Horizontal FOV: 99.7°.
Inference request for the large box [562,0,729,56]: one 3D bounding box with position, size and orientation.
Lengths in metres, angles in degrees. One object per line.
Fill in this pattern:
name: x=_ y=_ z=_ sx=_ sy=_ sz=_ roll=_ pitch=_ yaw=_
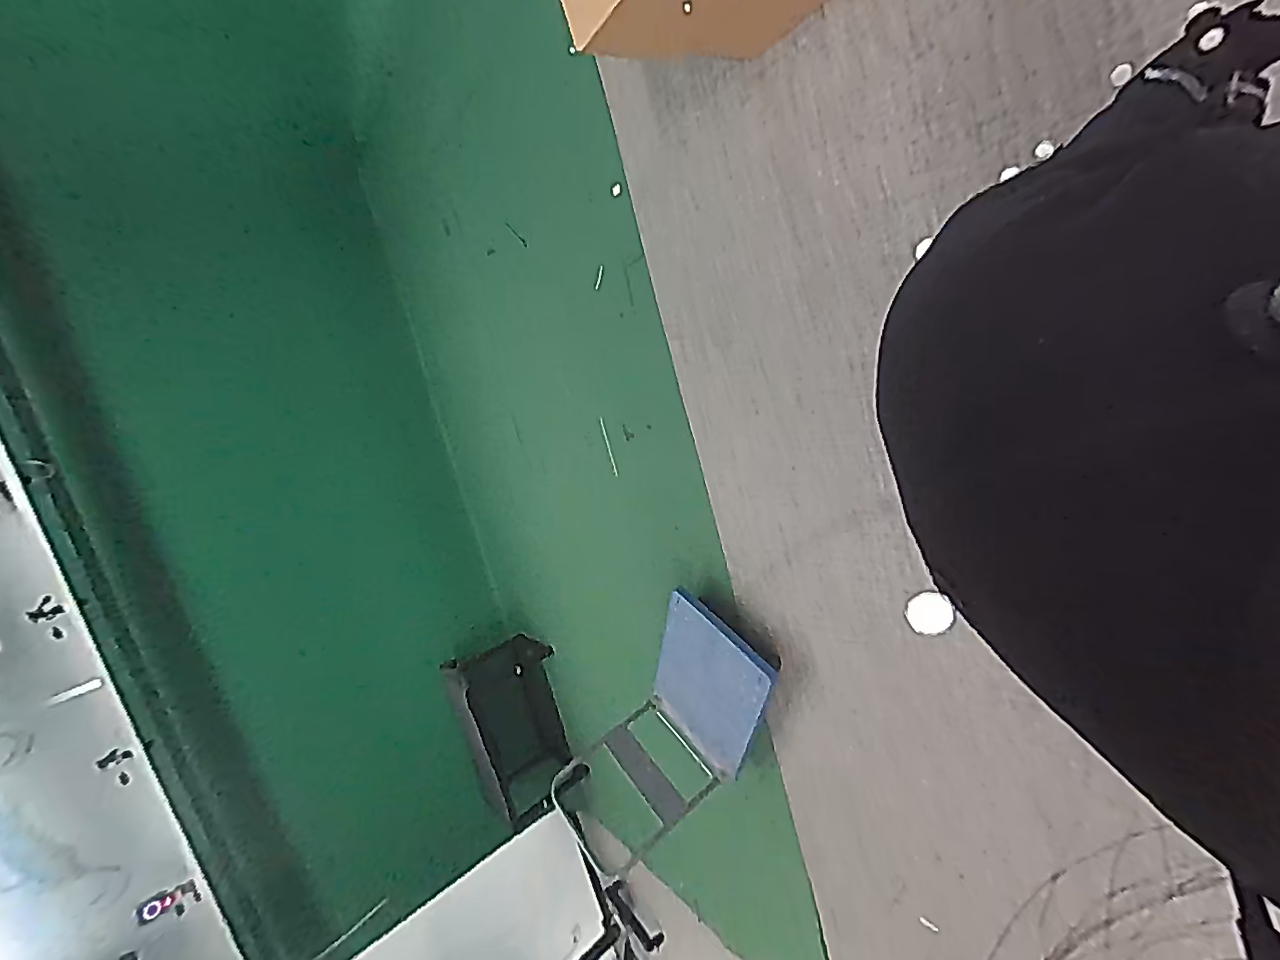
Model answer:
large box: x=0.044 y=-1.172 z=1.120 sx=0.408 sy=0.320 sz=0.320 roll=2 pitch=112 yaw=55
